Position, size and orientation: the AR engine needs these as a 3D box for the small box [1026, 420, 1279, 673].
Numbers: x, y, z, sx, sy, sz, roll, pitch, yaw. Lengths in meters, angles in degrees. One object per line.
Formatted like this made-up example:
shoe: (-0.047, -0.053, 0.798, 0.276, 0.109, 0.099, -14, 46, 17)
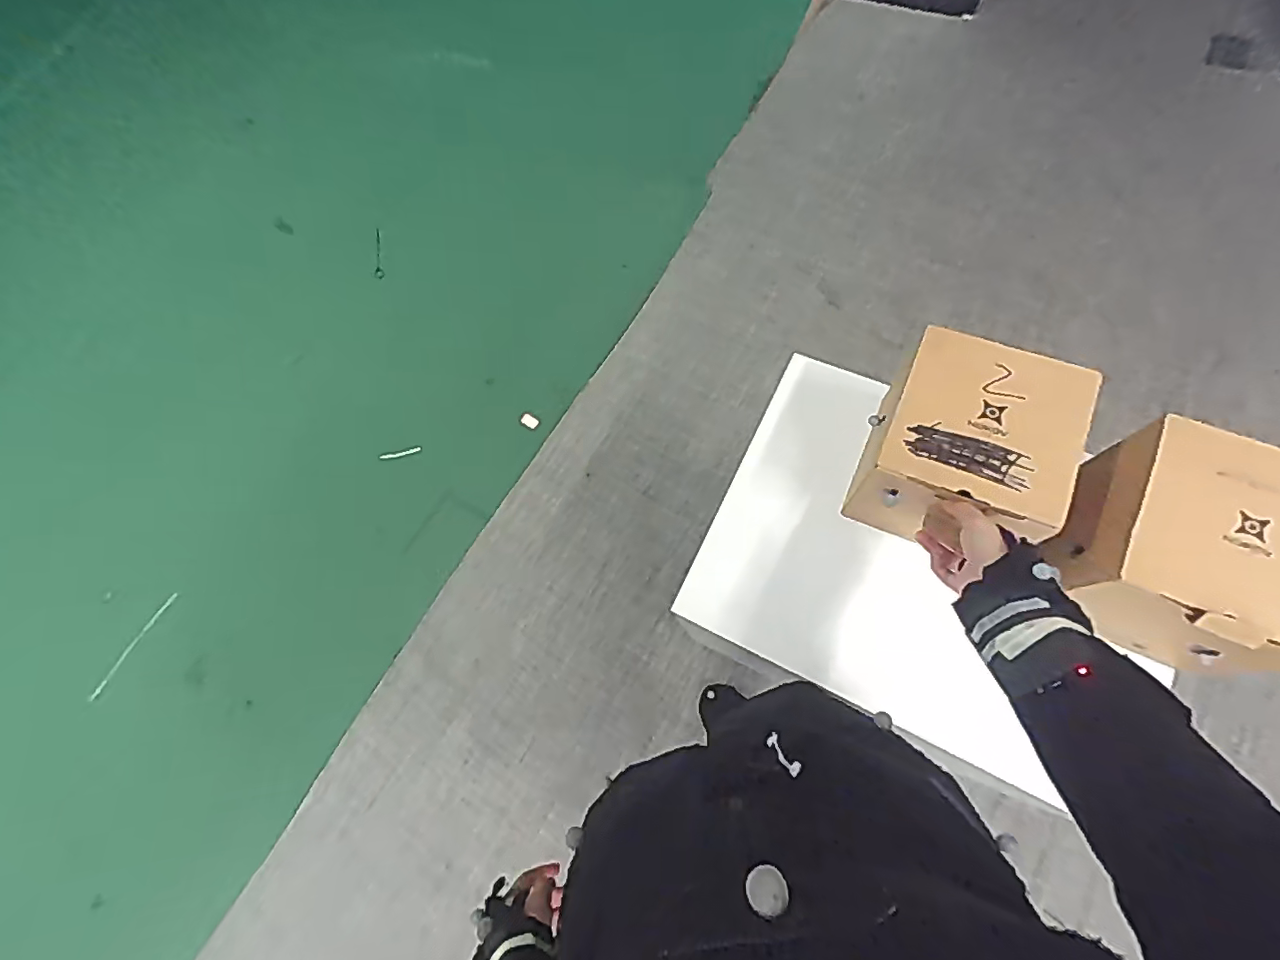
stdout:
small box: (0.523, 0.075, 0.532, 0.168, 0.176, 0.179, 24, 75, 14)
